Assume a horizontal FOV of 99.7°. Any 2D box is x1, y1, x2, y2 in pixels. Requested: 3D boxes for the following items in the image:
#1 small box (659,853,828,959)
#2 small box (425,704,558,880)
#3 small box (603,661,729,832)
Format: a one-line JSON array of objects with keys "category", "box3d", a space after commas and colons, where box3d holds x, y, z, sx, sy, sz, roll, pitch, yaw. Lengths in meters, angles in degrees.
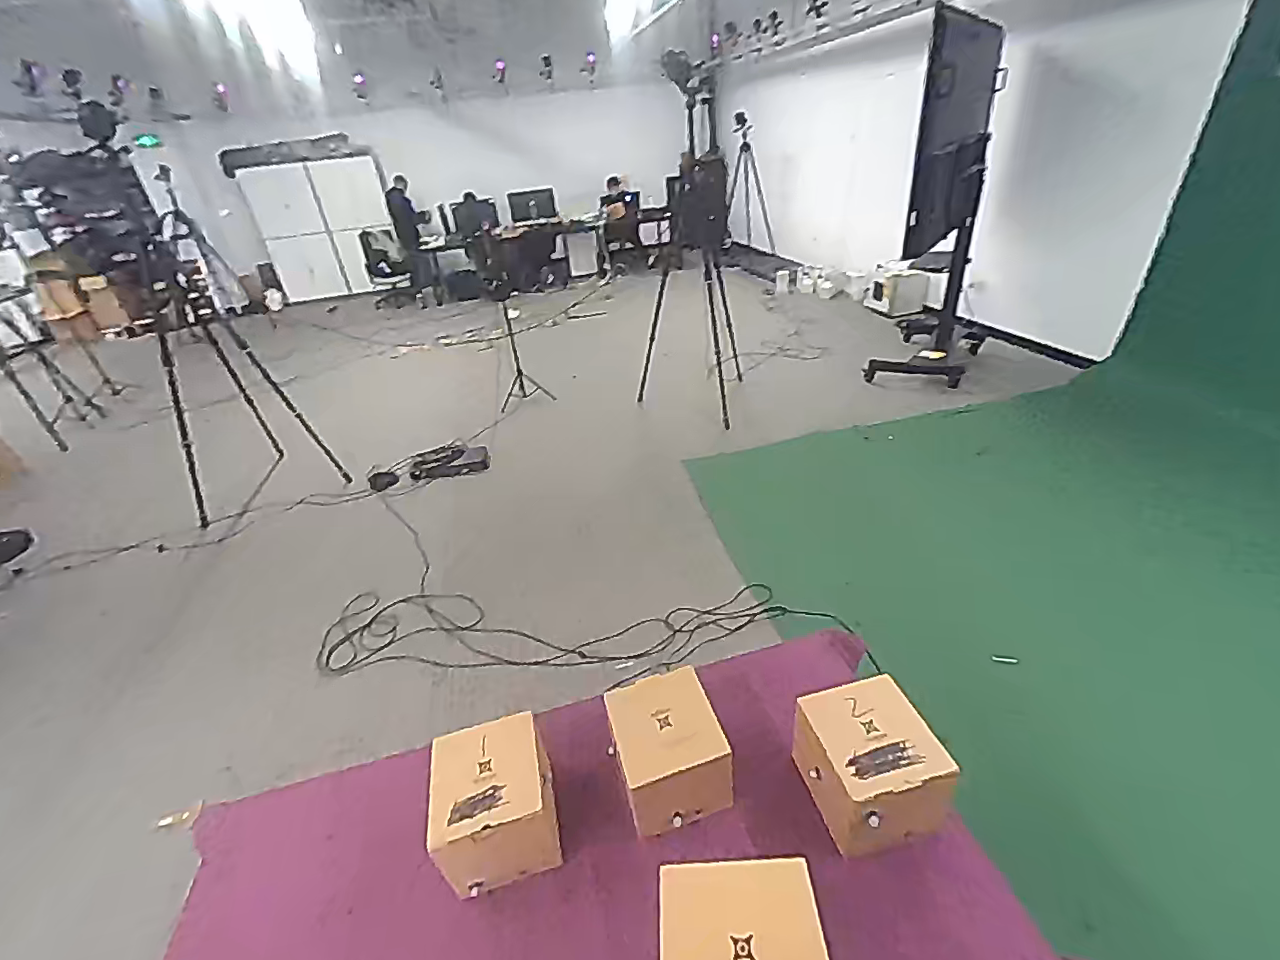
[{"category": "small box", "box3d": [0.108, 0.531, 0.564, 0.168, 0.176, 0.179, -6, 26, 4]}, {"category": "small box", "box3d": [-0.234, 0.506, 0.873, 0.168, 0.176, 0.179, -12, 33, -10]}, {"category": "small box", "box3d": [0.041, 0.449, 0.920, 0.168, 0.176, 0.179, -14, 34, -10]}]
